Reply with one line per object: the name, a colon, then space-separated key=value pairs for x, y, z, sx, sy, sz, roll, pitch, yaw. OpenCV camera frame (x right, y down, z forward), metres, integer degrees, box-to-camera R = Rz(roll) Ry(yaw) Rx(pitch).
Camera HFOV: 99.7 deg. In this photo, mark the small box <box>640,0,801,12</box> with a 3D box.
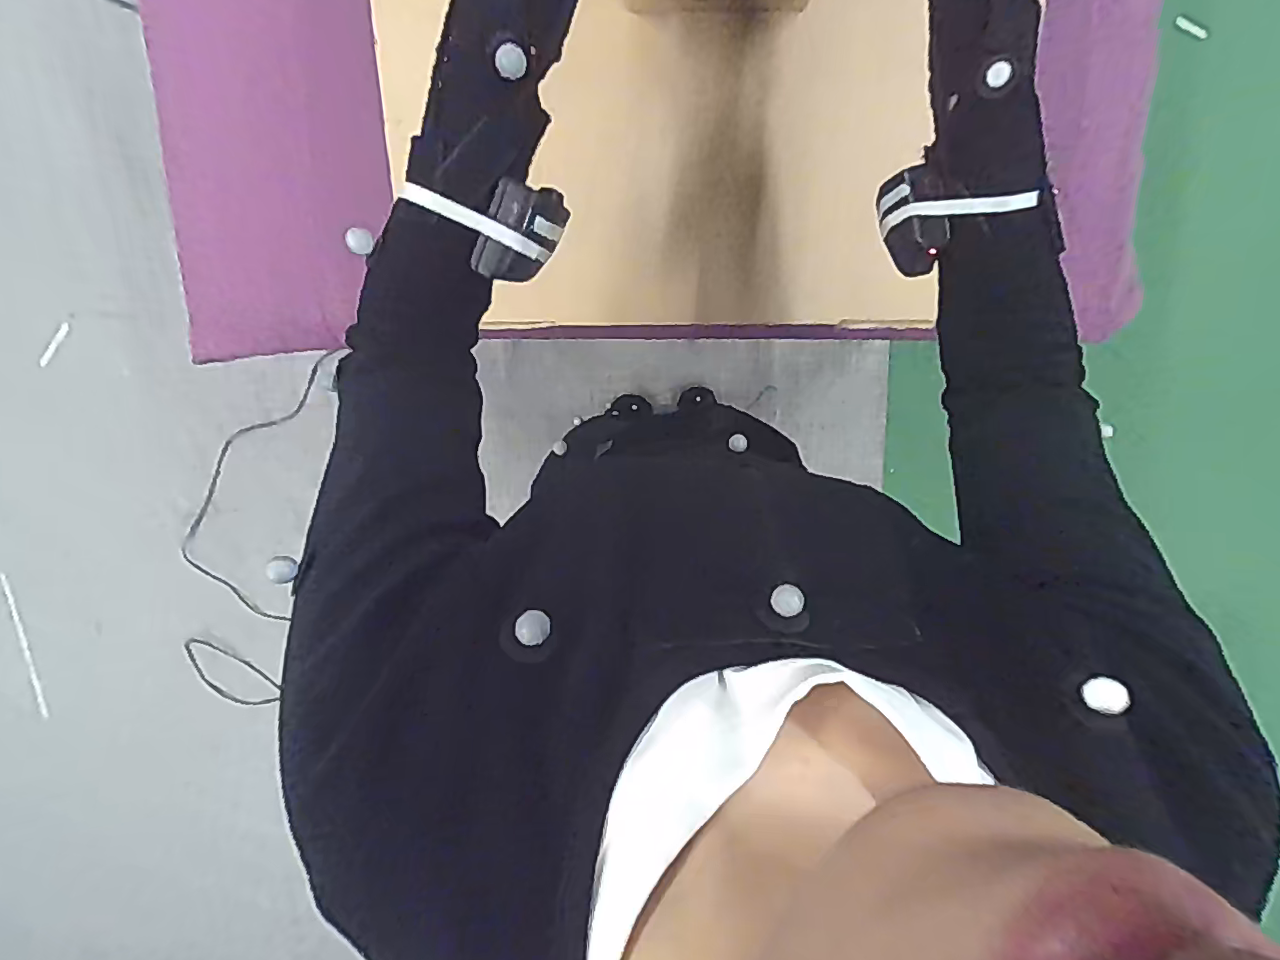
small box: x=0.068 y=-0.496 z=0.392 sx=0.168 sy=0.176 sz=0.179 roll=0 pitch=99 yaw=0
